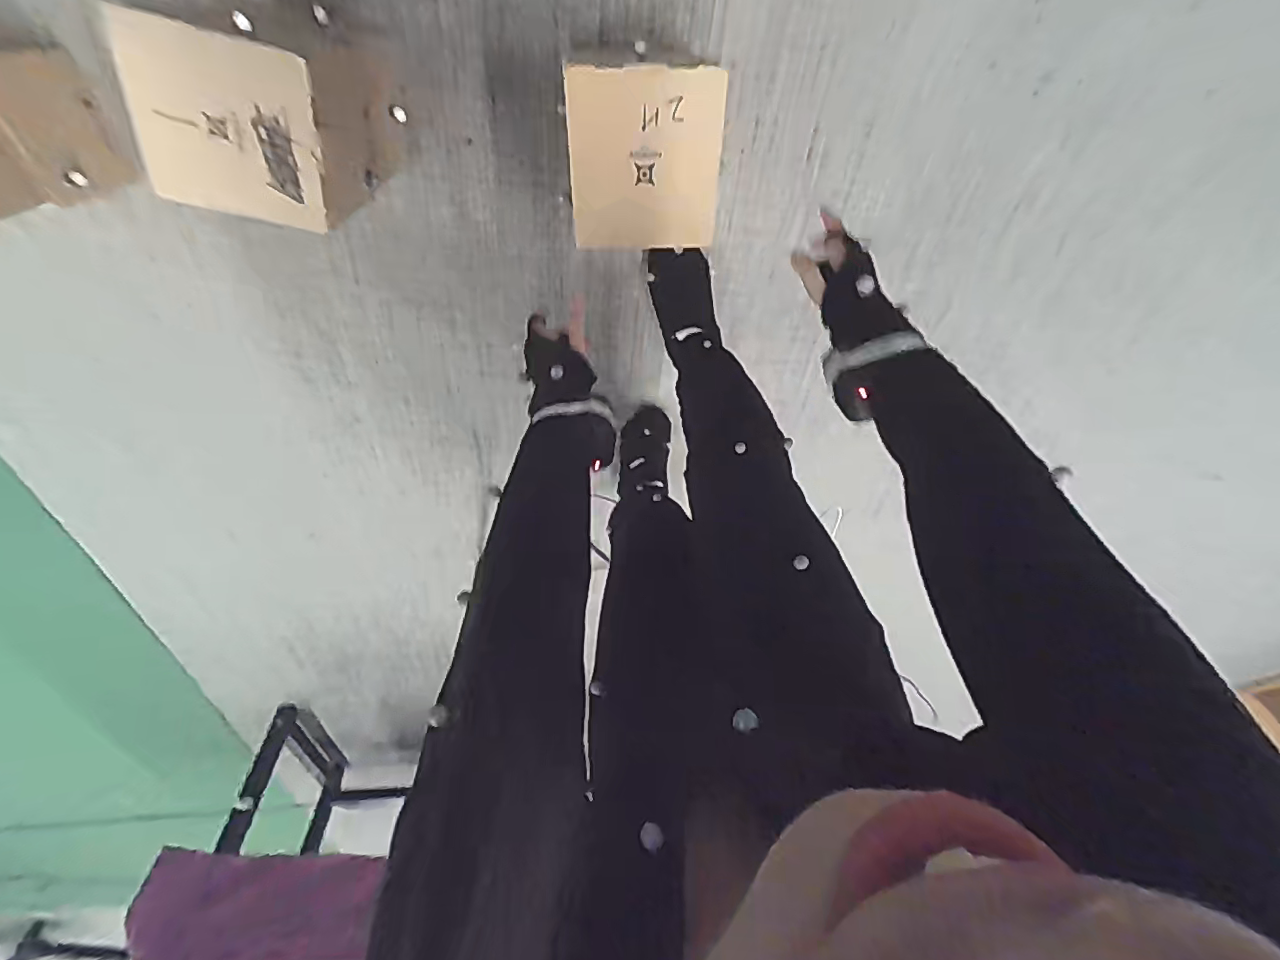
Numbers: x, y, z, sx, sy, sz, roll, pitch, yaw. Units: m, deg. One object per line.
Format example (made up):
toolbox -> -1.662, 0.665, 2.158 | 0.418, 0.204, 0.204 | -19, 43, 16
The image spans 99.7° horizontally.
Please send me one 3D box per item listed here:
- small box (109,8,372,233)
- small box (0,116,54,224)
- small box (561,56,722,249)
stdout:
small box -> -0.421, -0.408, 0.615 | 0.179, 0.176, 0.168 | 9, 129, -10
small box -> -0.859, -0.377, 0.613 | 0.168, 0.176, 0.179 | -6, 129, 0
small box -> -0.003, -0.397, 0.655 | 0.168, 0.176, 0.179 | -2, 130, -3
